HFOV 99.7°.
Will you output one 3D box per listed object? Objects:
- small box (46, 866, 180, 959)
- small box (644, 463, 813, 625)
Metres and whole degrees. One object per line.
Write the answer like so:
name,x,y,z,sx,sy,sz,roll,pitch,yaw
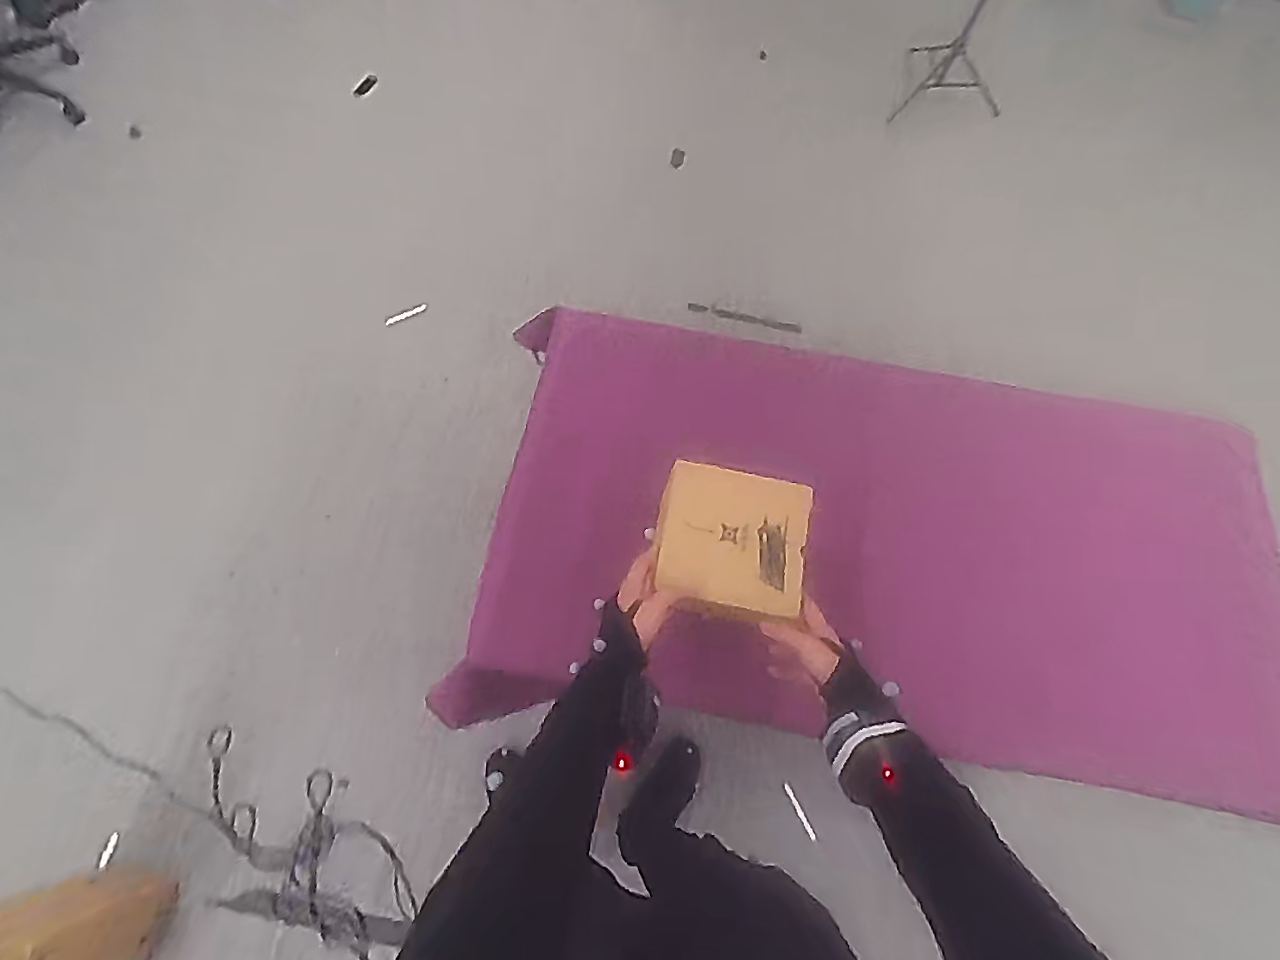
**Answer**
small box,-1.141,0.942,1.133,0.179,0.176,0.168,12,70,2
small box,0.110,0.095,0.723,0.179,0.176,0.168,12,72,0
